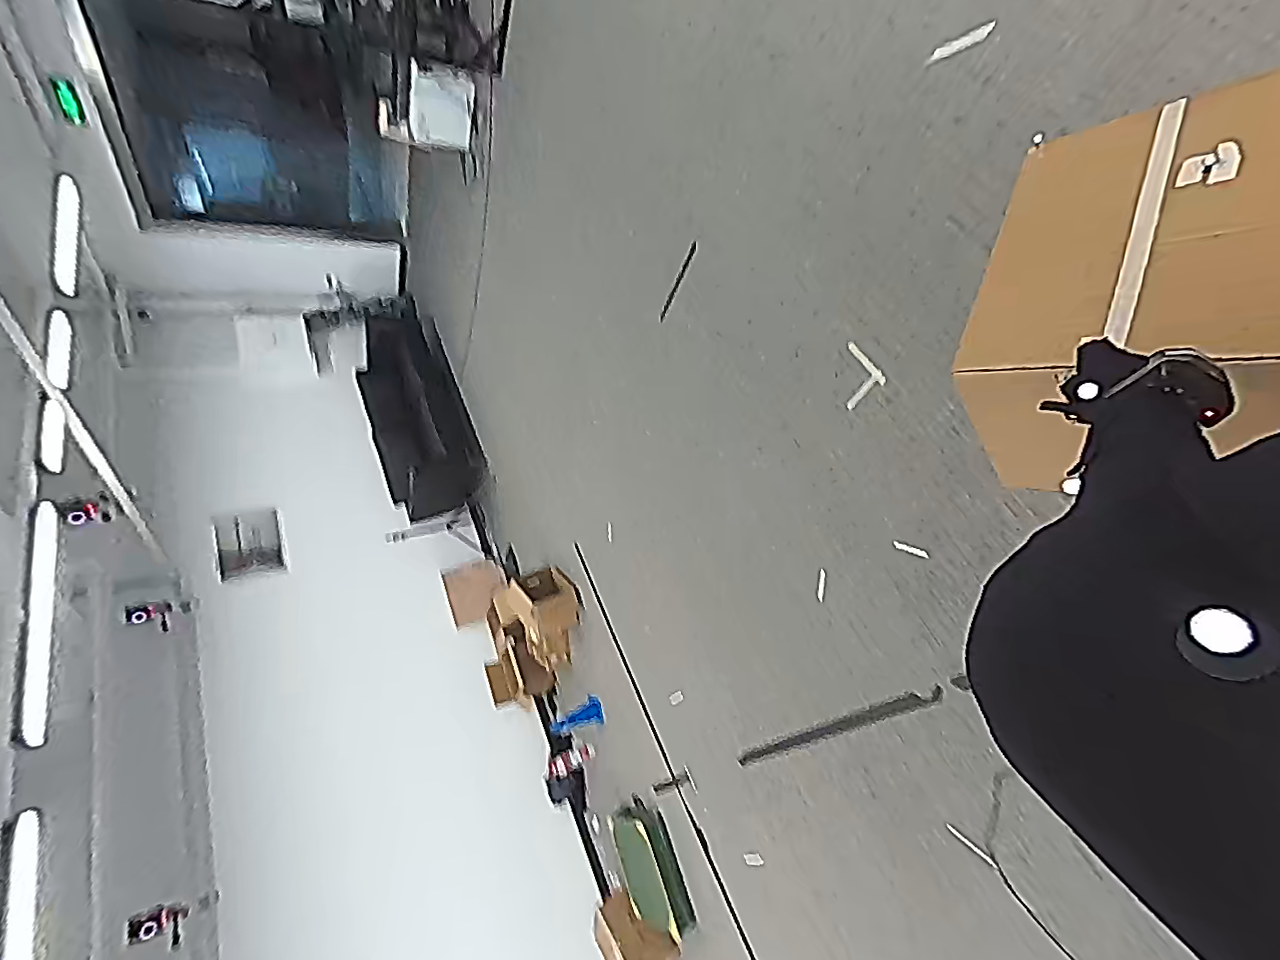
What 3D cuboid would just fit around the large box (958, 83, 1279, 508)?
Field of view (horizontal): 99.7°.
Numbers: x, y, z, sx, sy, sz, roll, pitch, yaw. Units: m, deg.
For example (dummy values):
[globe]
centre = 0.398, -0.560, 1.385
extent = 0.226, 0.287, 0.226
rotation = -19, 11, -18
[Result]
[large box]
centre = 0.687, -0.214, 0.725
extent = 0.320, 0.320, 0.408
rotation = 9, 67, 50
